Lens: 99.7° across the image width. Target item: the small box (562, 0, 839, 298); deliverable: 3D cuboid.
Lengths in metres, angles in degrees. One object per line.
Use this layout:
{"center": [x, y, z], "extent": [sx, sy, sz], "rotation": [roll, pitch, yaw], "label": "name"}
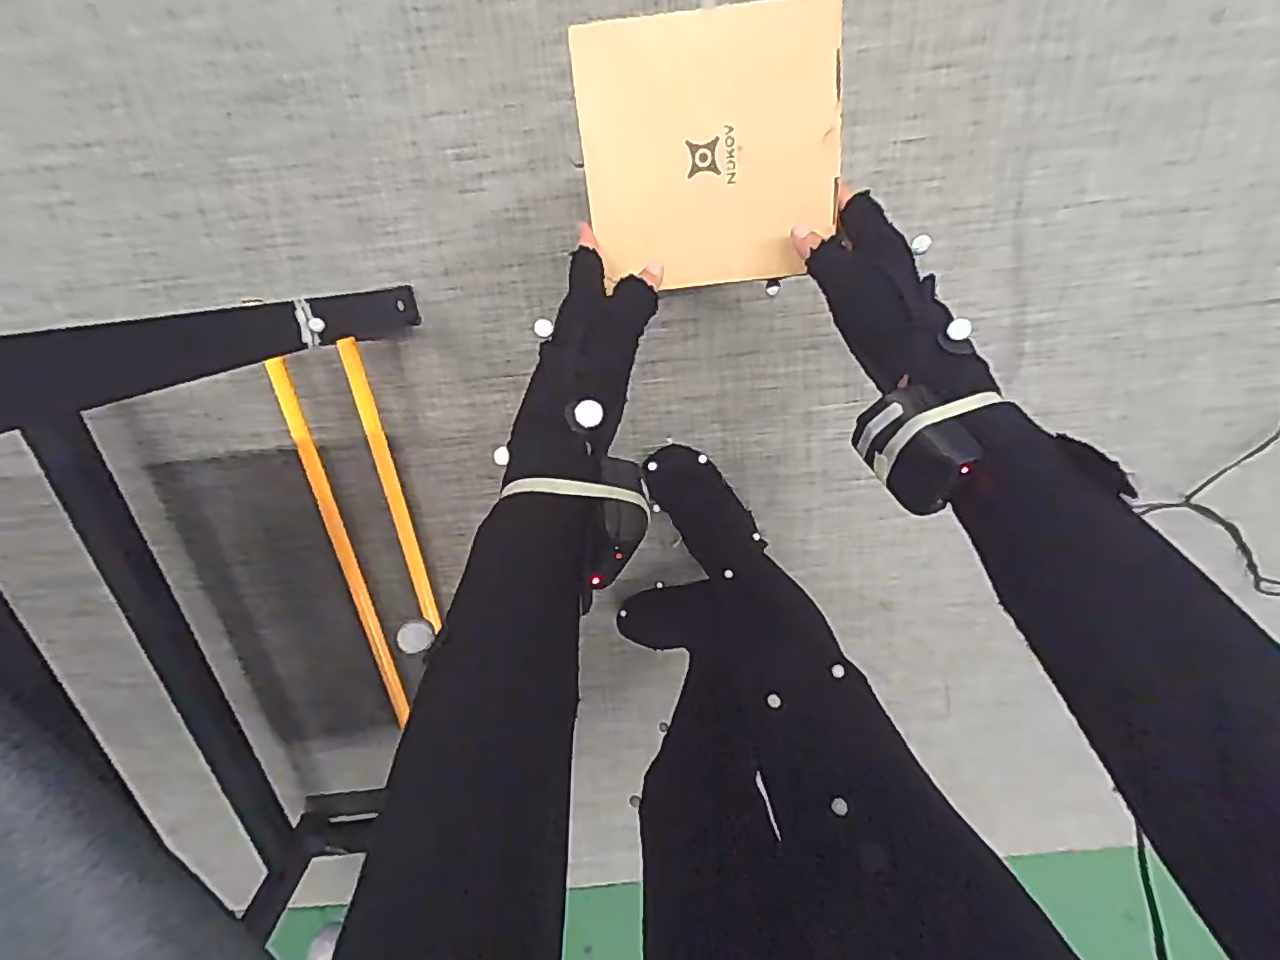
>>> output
{"center": [0.045, -0.245, 0.438], "extent": [0.179, 0.176, 0.168], "rotation": [-6, 113, 2], "label": "small box"}
